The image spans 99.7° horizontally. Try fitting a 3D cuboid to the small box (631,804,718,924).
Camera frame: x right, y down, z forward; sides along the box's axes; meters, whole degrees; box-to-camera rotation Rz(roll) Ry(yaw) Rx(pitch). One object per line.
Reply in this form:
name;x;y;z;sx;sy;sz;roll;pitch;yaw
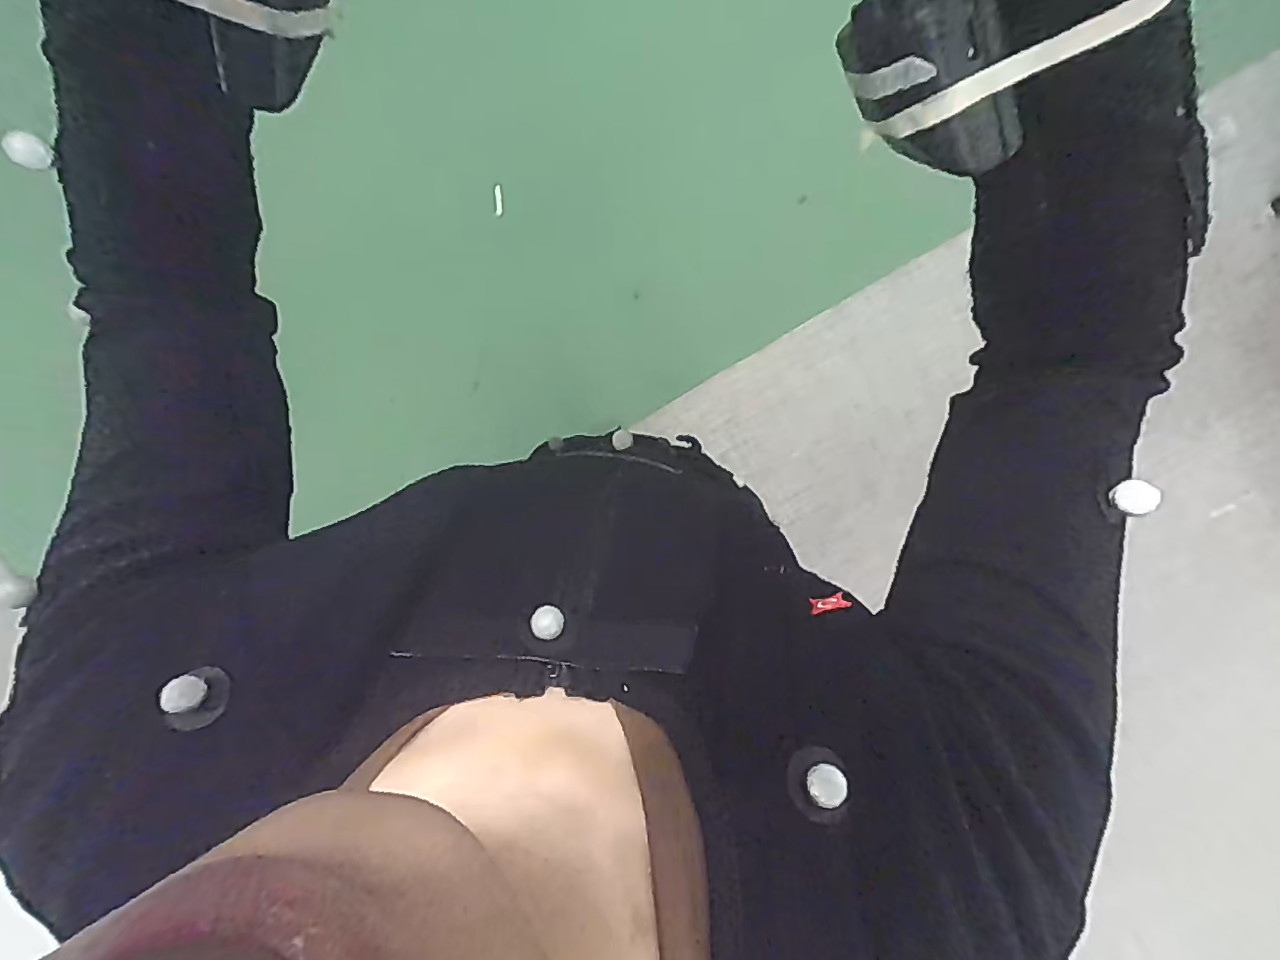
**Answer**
small box;0.093;1.036;1.471;0.179;0.176;0.168;-30;94;3
